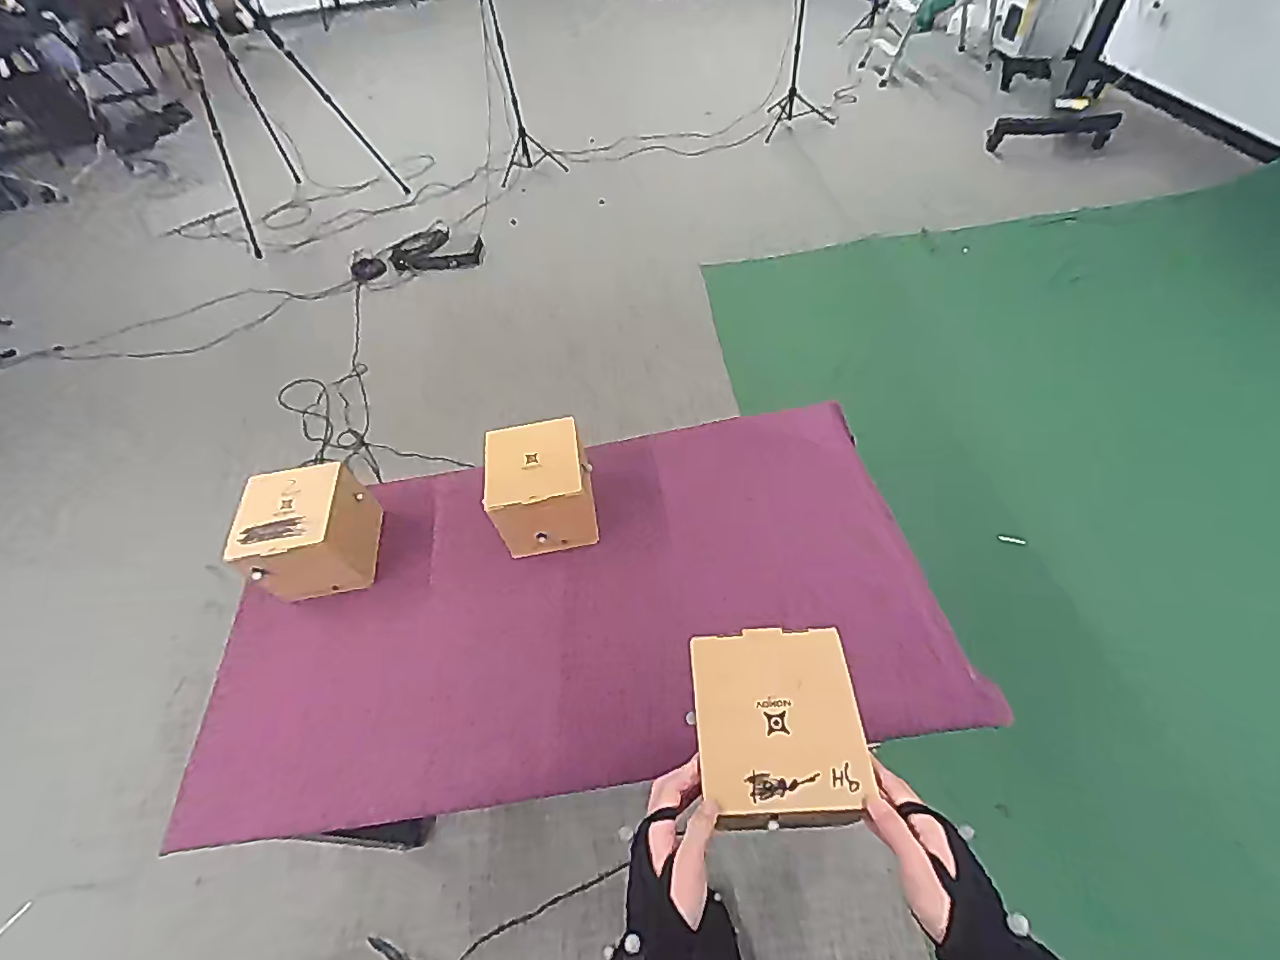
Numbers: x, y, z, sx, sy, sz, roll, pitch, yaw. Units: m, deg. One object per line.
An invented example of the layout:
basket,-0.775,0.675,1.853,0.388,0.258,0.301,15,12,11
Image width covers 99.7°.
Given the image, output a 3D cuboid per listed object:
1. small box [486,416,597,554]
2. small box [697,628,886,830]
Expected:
small box,-0.176,0.011,0.991,0.168,0.176,0.179,-10,54,-2
small box,0.152,0.285,0.611,0.168,0.176,0.179,-5,53,5
